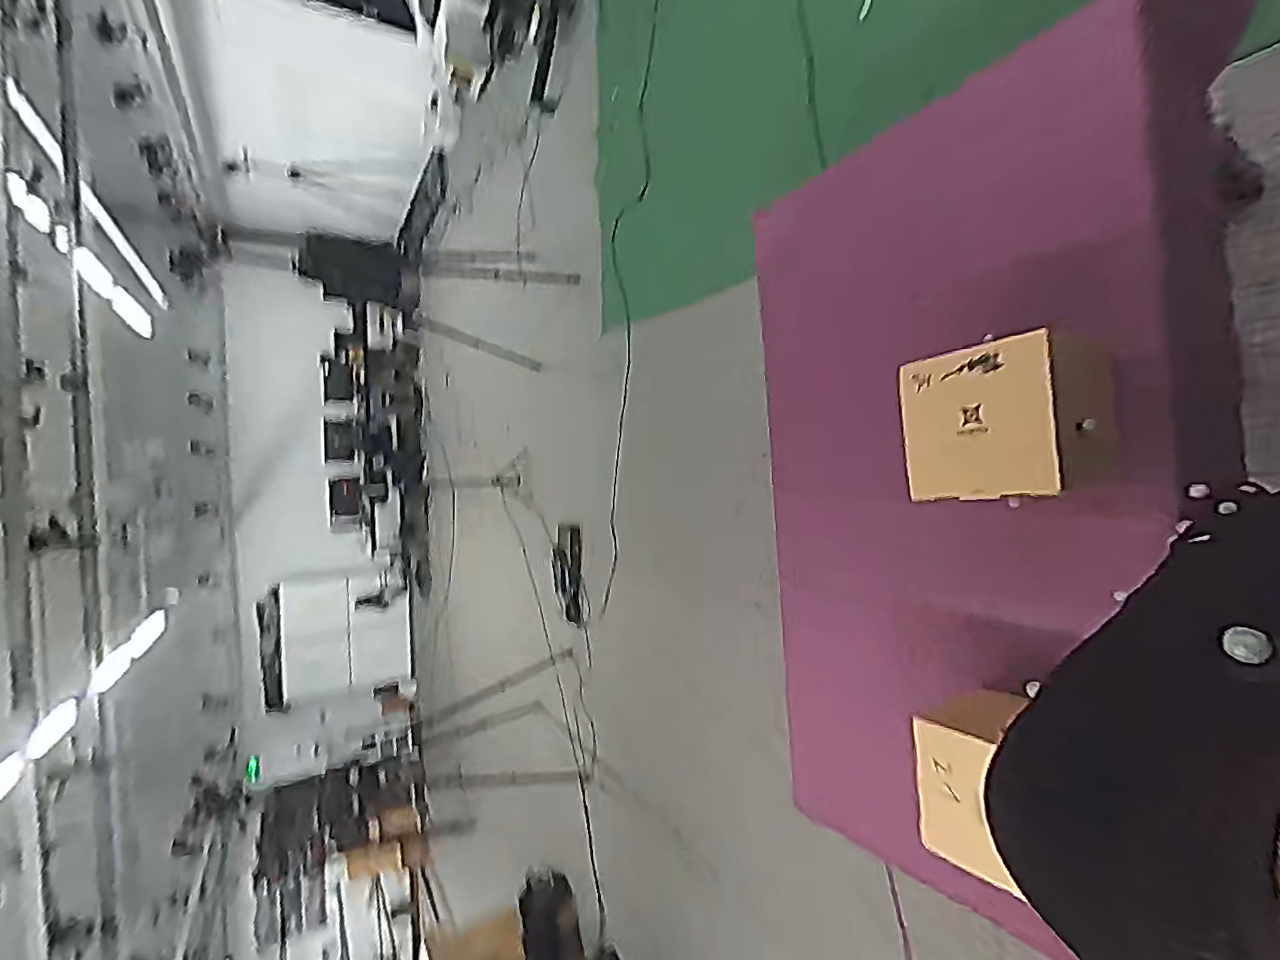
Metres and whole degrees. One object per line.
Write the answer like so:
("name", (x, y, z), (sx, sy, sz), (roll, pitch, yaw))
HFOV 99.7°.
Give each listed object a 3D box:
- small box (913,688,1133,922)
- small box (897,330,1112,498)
("small box", (0.471, 0.374, 0.667), (0.179, 0.176, 0.168), (-6, 86, 58))
("small box", (0.451, -0.073, 0.672), (0.168, 0.176, 0.179), (-7, 86, 58))
